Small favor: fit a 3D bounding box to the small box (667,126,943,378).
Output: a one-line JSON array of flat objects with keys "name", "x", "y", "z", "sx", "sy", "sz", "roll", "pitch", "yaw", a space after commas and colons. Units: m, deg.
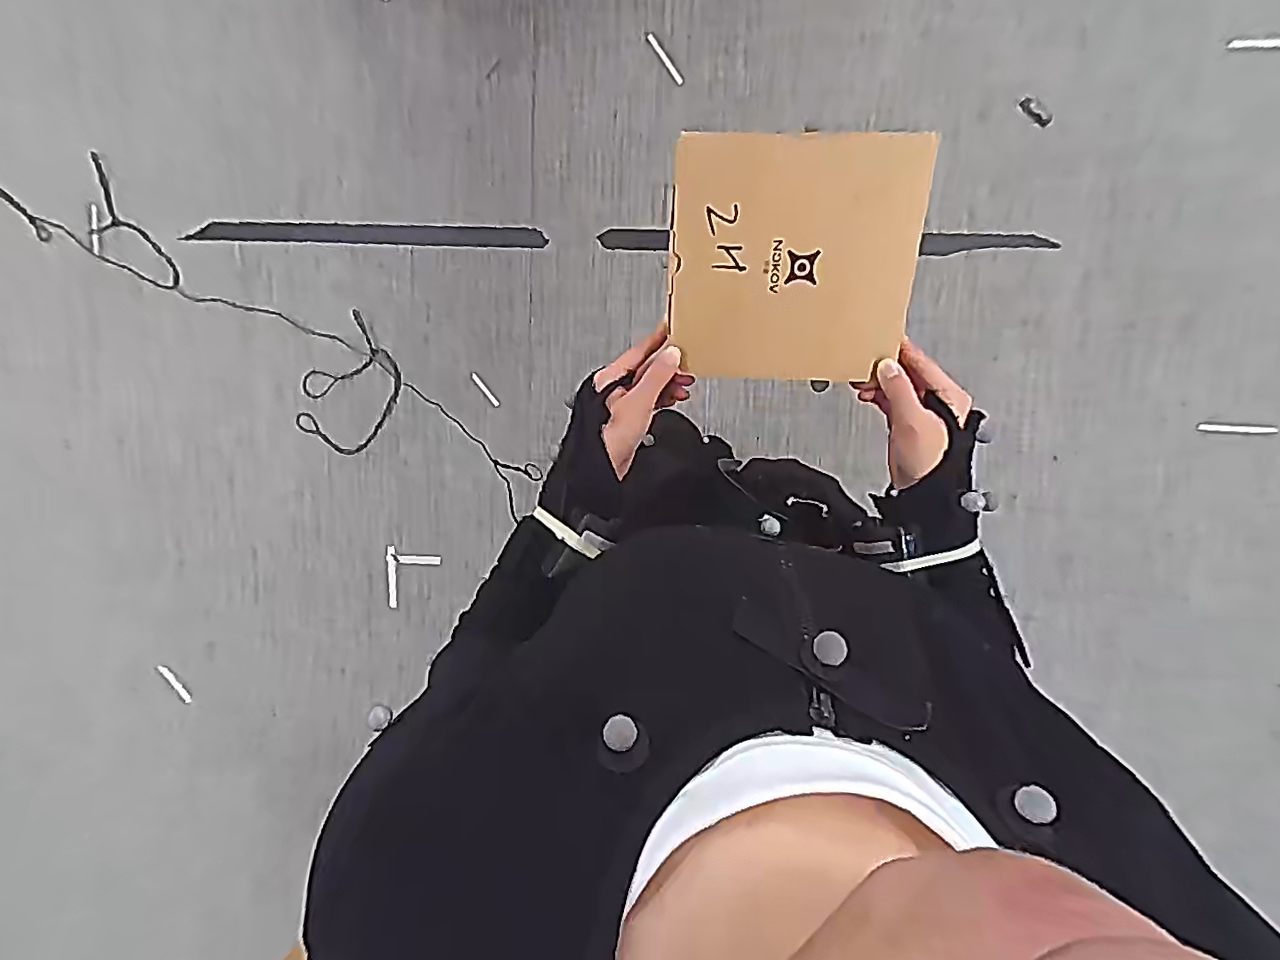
[{"name": "small box", "x": 0.119, "y": -0.190, "z": 0.464, "sx": 0.179, "sy": 0.176, "sz": 0.168, "roll": 4, "pitch": 112, "yaw": 6}]
